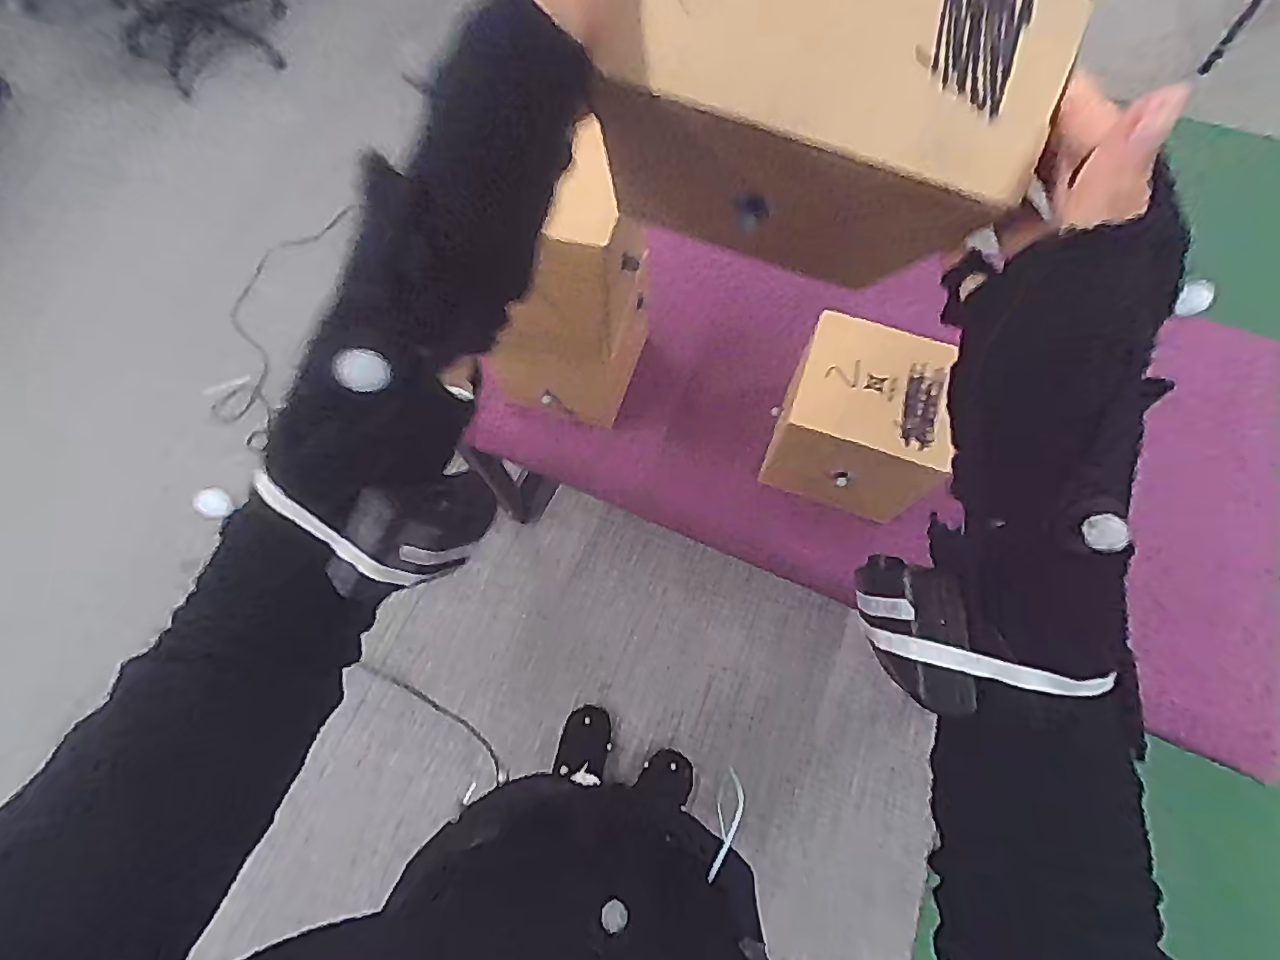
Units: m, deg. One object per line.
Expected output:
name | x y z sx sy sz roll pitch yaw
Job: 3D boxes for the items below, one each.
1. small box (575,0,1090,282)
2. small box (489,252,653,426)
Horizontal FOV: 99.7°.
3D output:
small box | 0.083 -0.213 0.273 0.179 0.176 0.168 18 100 -1
small box | -0.089 -0.203 0.729 0.168 0.176 0.179 18 69 6
